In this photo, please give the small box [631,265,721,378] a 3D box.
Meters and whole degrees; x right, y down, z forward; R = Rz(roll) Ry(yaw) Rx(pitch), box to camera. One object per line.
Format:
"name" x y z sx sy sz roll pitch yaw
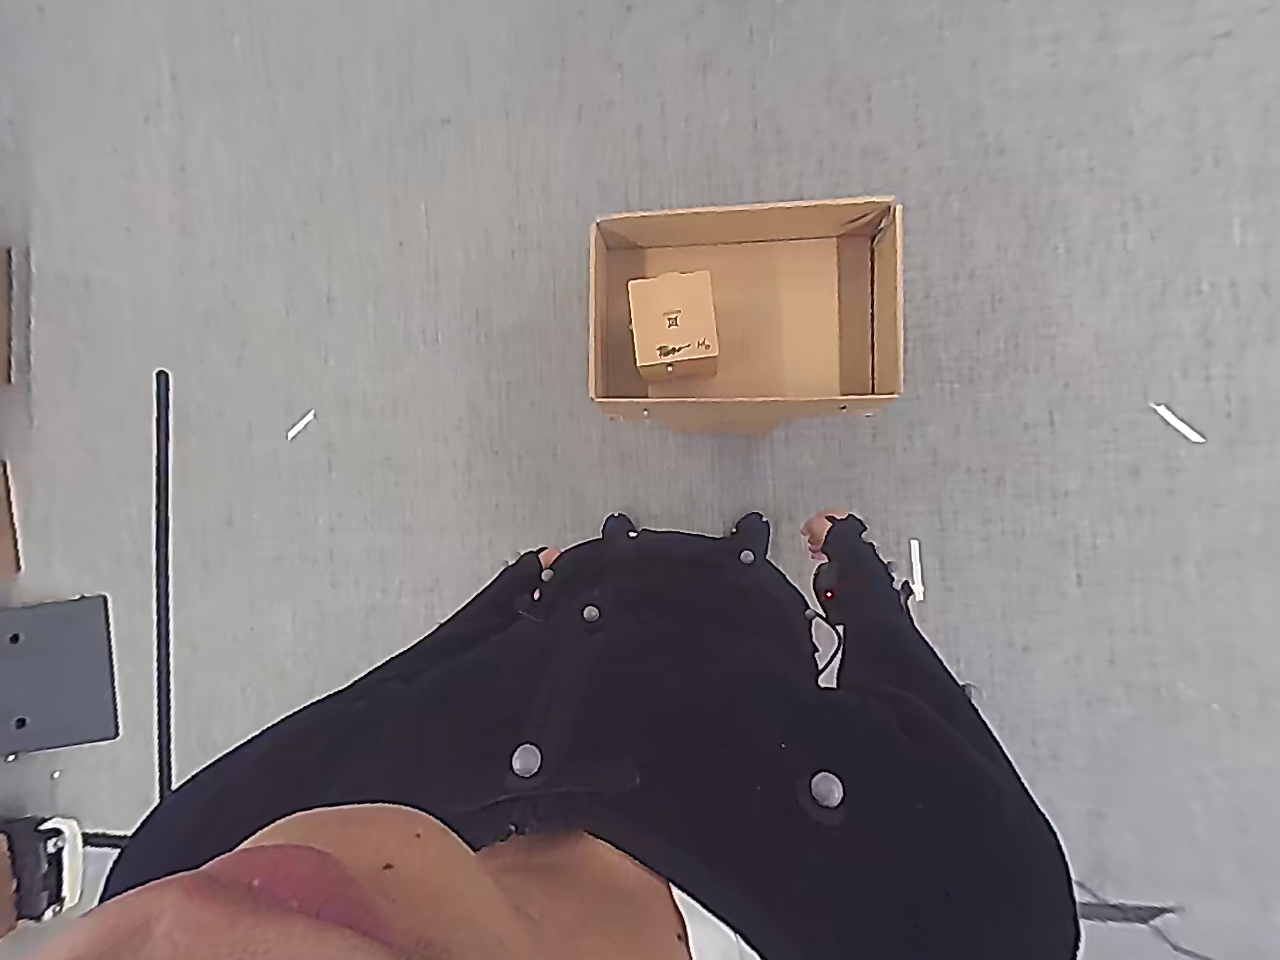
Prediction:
"small box" 0.078 -0.326 1.142 0.168 0.176 0.179 -6 88 8
